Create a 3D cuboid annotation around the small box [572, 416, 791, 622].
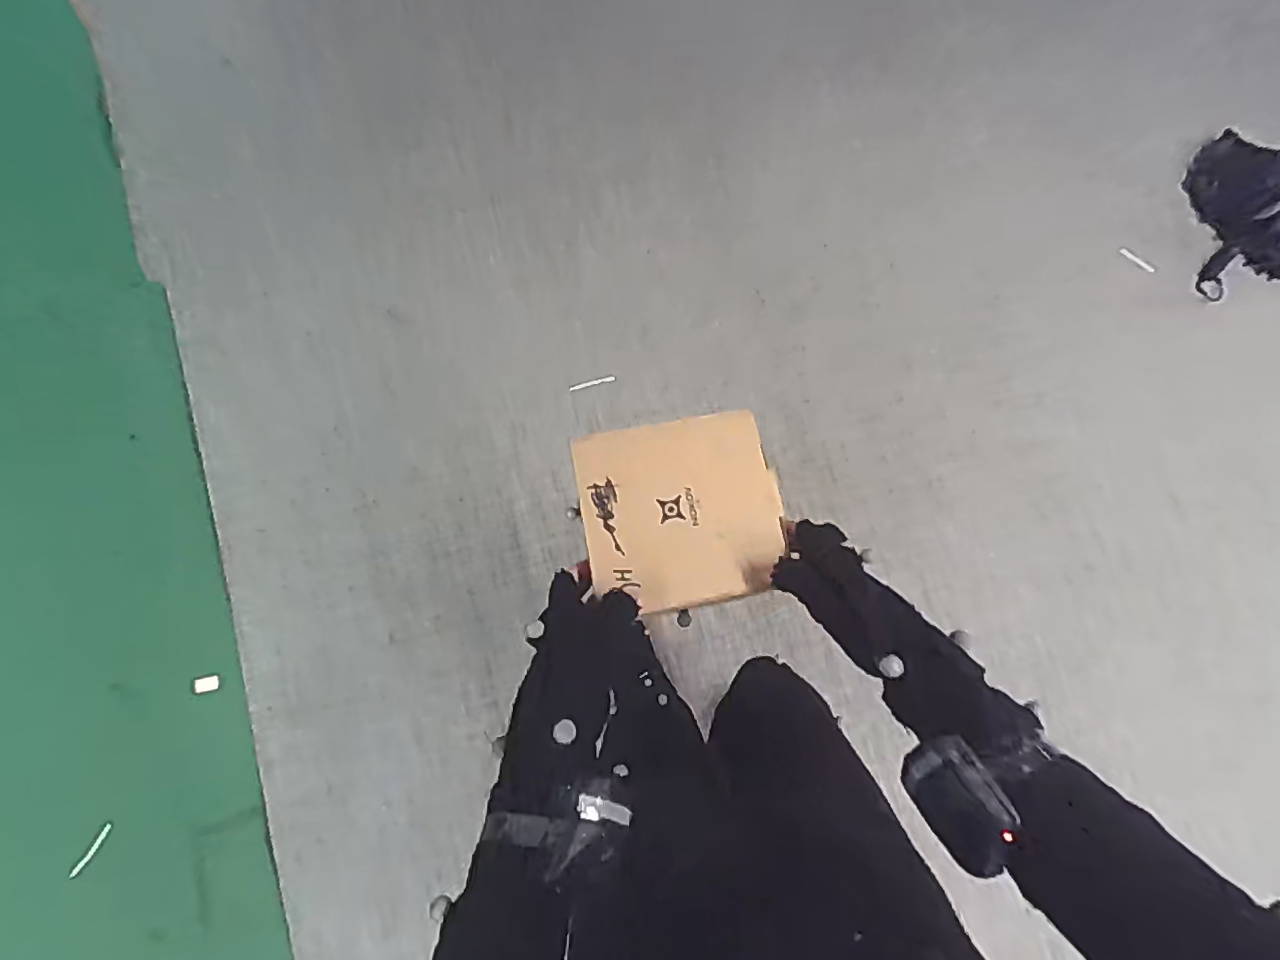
[{"bbox_3d":[0.029,0.049,0.562,0.179,0.176,0.168,-9,75,-7],"label":"small box"}]
